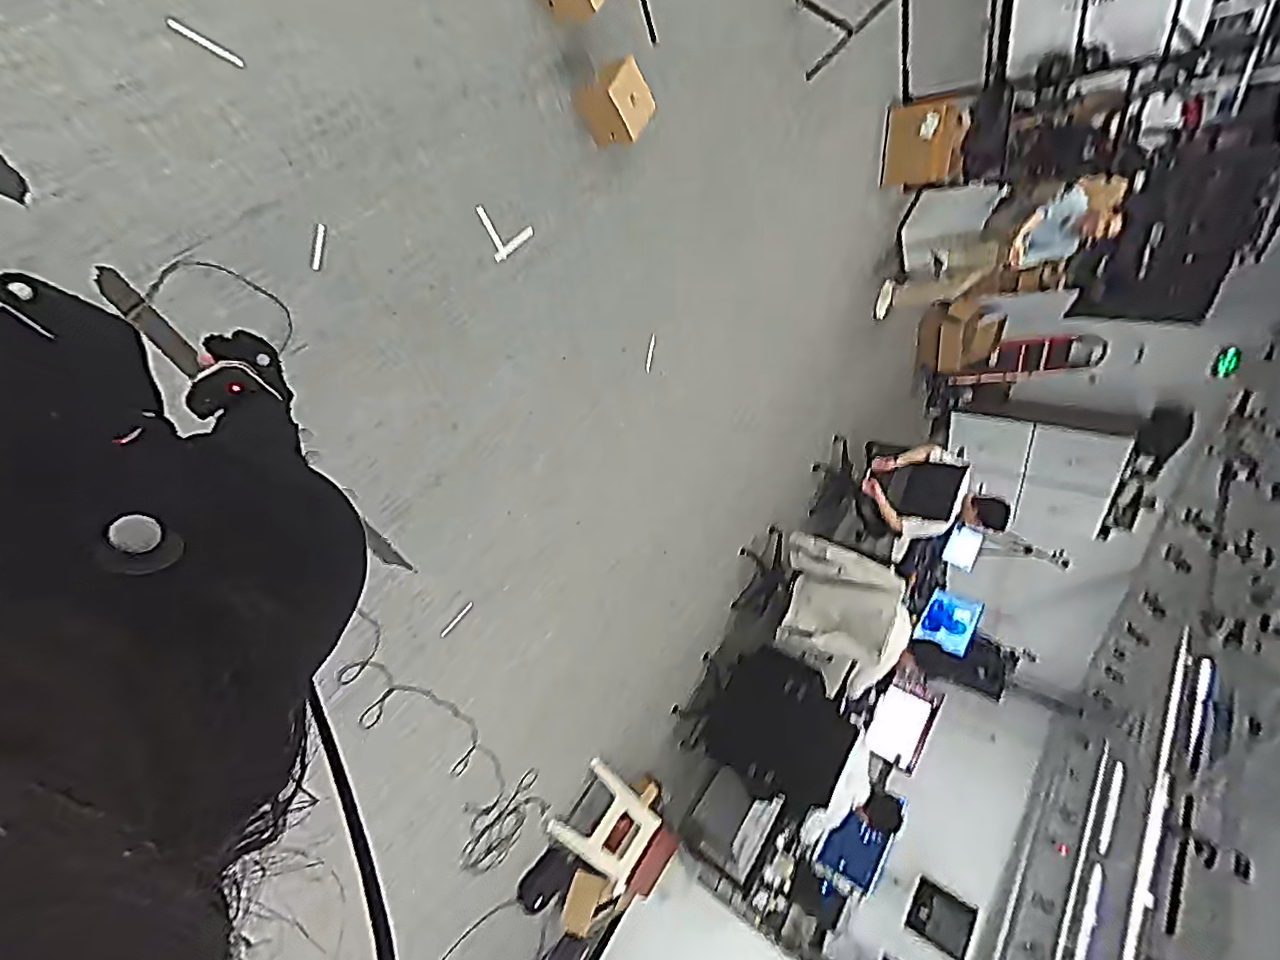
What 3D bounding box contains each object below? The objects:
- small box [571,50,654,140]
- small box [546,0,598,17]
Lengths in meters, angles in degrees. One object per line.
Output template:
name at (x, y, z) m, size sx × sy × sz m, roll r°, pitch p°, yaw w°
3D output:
small box at (-0.090, -1.248, 1.768) m, size 0.179 × 0.176 × 0.168 m, roll 41°, pitch 71°, yaw -49°
small box at (-0.190, -1.483, 1.544) m, size 0.168 × 0.176 × 0.179 m, roll 40°, pitch 73°, yaw -50°
